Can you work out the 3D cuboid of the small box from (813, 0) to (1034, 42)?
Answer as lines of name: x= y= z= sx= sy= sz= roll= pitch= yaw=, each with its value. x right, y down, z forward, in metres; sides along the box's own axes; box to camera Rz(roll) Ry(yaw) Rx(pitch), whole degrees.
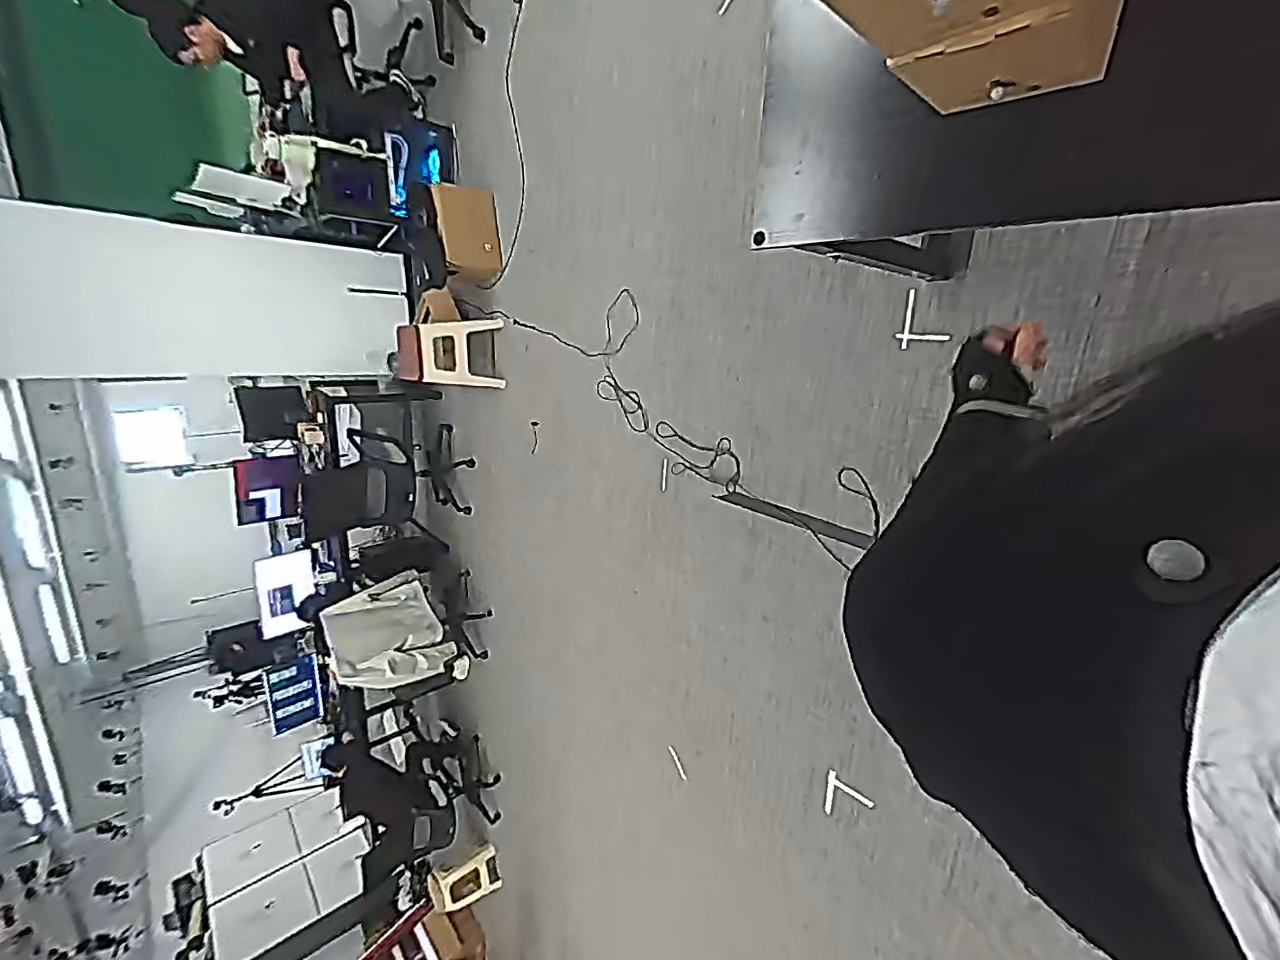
small box: x=0.263 y=-0.509 z=0.451 sx=0.168 sy=0.176 sz=0.179 roll=17 pitch=111 yaw=46

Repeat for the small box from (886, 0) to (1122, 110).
small box: x=0.386 y=-0.522 z=0.559 sx=0.168 sy=0.176 sz=0.179 roll=21 pitch=113 yaw=45
